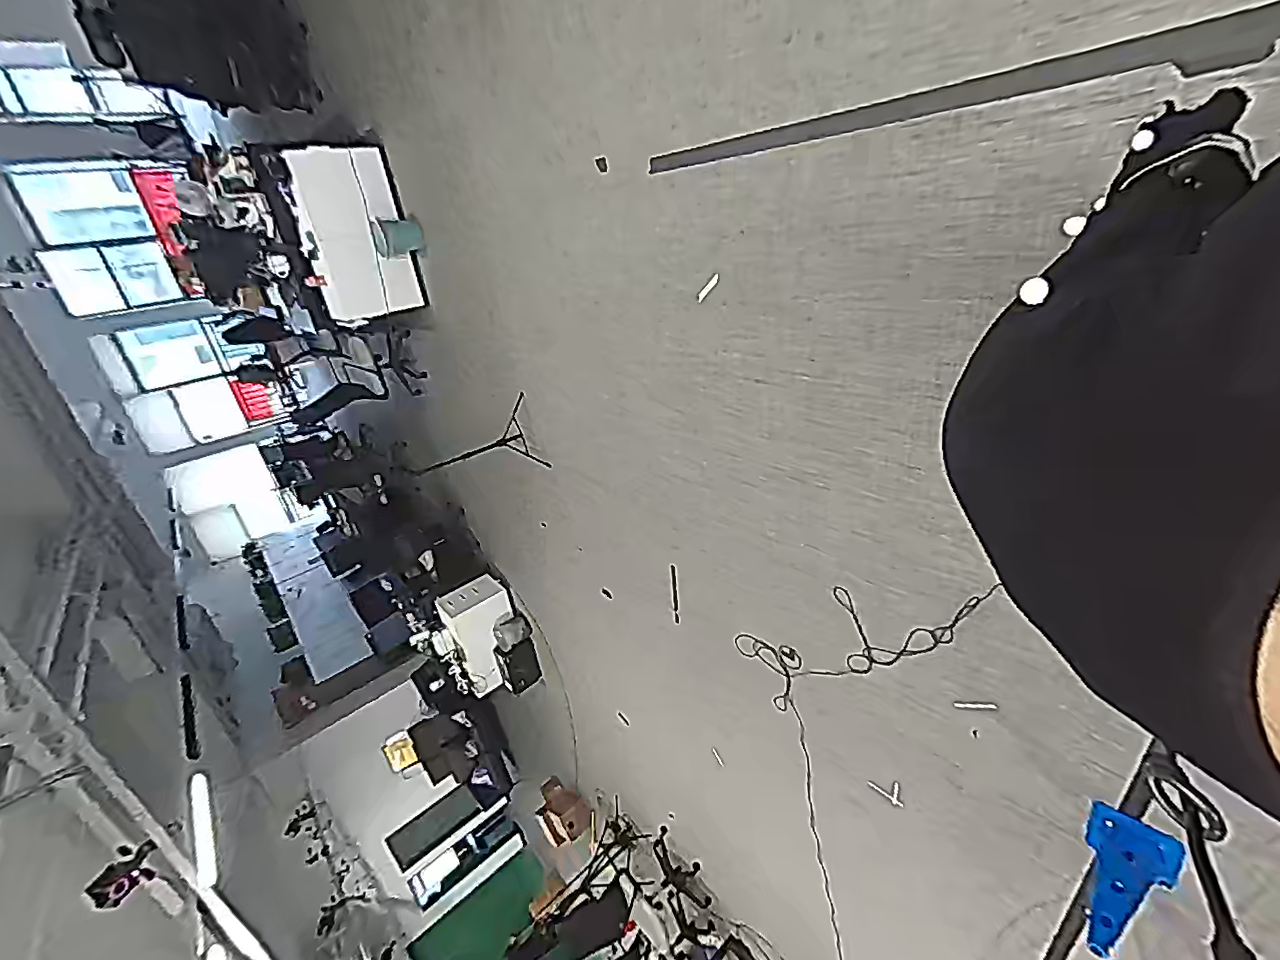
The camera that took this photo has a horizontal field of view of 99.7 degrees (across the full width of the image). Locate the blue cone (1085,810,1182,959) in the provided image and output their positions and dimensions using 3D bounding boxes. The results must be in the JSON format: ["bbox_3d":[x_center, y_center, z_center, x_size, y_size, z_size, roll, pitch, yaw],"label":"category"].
[{"bbox_3d":[1.264,1.101,1.433,0.192,0.380,0.193,18,126,46],"label":"blue cone"}]
